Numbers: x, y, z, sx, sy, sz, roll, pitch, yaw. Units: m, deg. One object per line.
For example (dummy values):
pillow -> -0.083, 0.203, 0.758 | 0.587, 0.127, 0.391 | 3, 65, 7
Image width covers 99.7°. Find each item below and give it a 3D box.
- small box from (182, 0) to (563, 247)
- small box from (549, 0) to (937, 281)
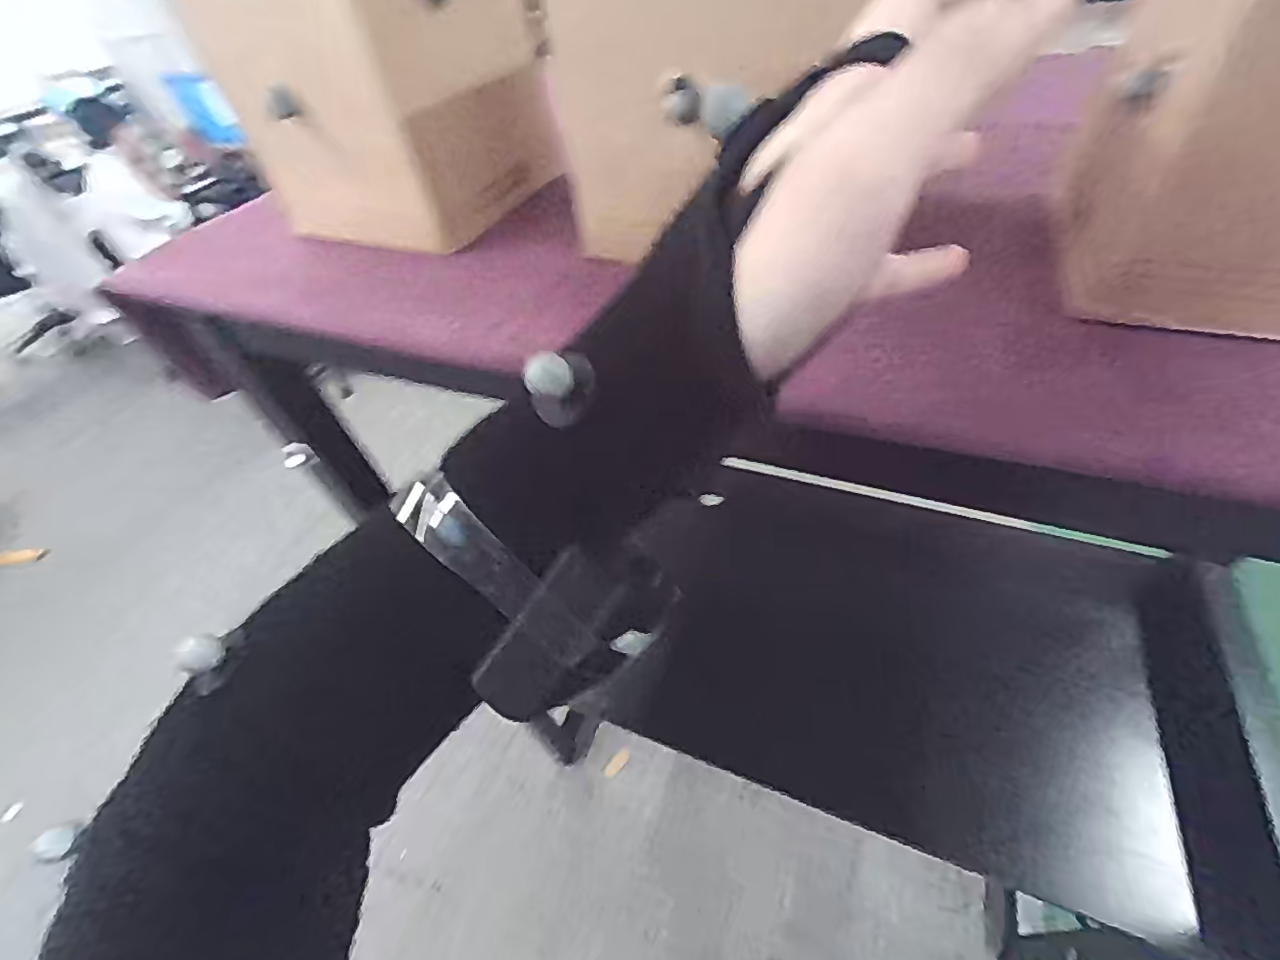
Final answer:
small box -> -0.187, -0.302, 0.424 | 0.179, 0.176, 0.168 | 15, 53, 22
small box -> 0.072, -0.242, 0.331 | 0.179, 0.176, 0.168 | 16, 52, 23
